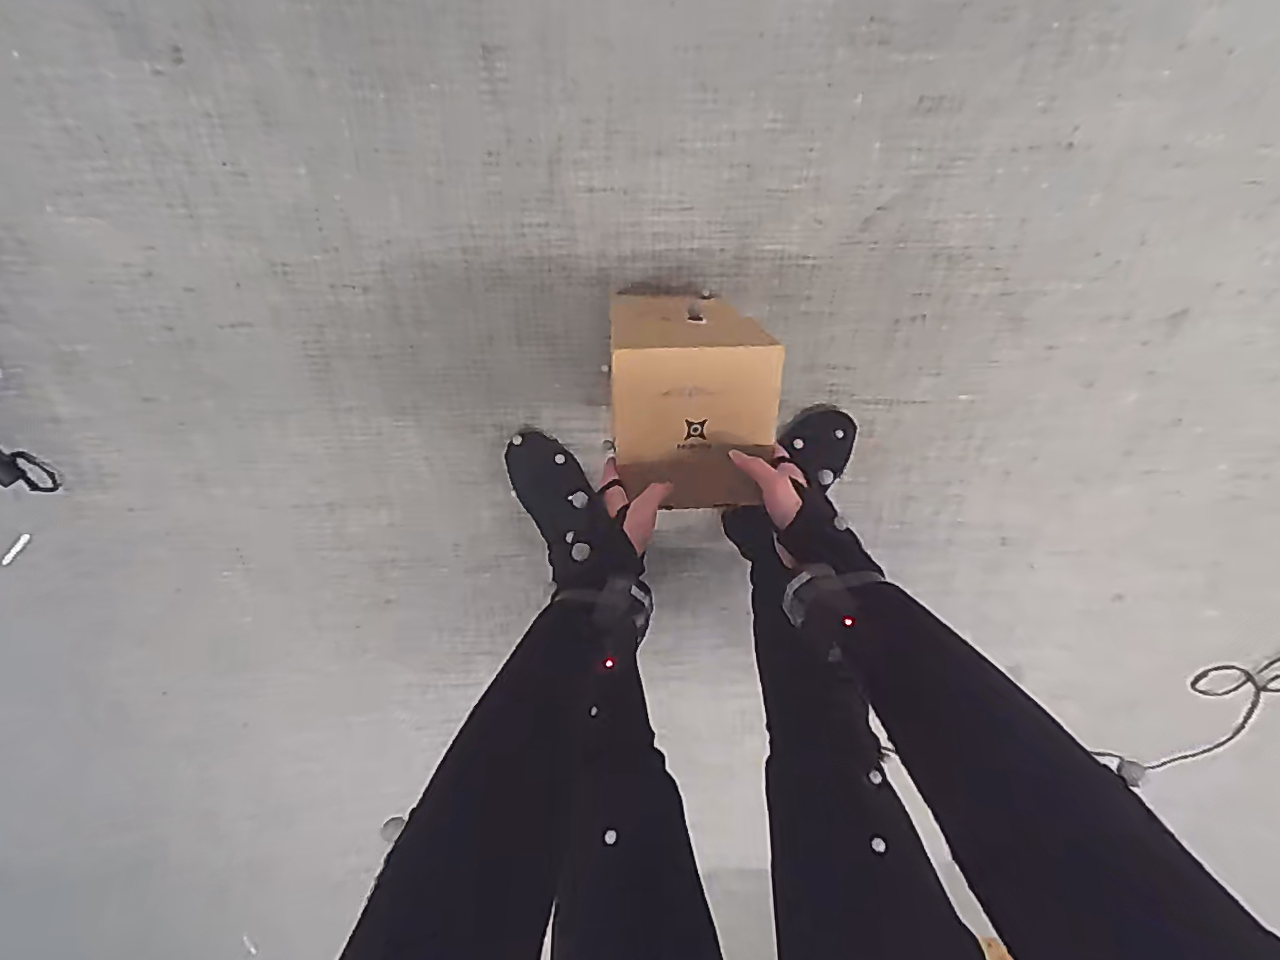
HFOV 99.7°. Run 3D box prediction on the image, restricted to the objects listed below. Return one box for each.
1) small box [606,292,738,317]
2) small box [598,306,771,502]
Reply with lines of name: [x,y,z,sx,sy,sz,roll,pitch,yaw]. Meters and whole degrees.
small box: [0.036,-0.164,0.761,0.168,0.176,0.179,0,118,0]
small box: [0.043,-0.092,0.615,0.168,0.176,0.179,-3,117,-1]
